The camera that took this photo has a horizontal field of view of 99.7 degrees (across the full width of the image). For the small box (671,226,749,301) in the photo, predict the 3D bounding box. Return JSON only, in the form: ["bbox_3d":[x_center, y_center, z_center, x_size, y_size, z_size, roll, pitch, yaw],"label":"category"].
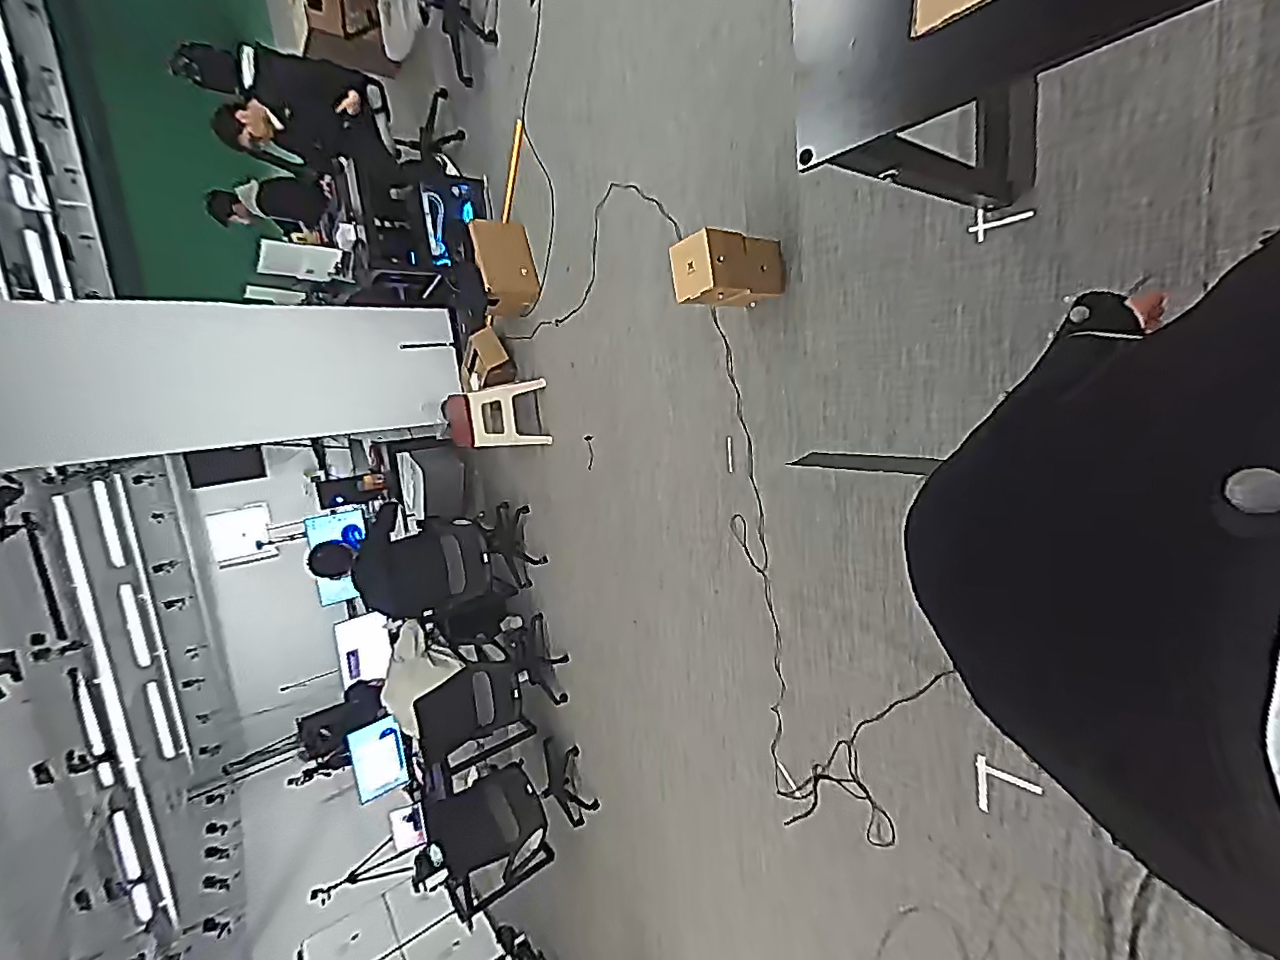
[{"bbox_3d":[0.223,-0.665,1.680,0.168,0.176,0.179,-3,97,52],"label":"small box"}]

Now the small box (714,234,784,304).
[{"bbox_3d":[0.351,-0.686,1.778,0.168,0.176,0.179,1,102,53],"label":"small box"}]
